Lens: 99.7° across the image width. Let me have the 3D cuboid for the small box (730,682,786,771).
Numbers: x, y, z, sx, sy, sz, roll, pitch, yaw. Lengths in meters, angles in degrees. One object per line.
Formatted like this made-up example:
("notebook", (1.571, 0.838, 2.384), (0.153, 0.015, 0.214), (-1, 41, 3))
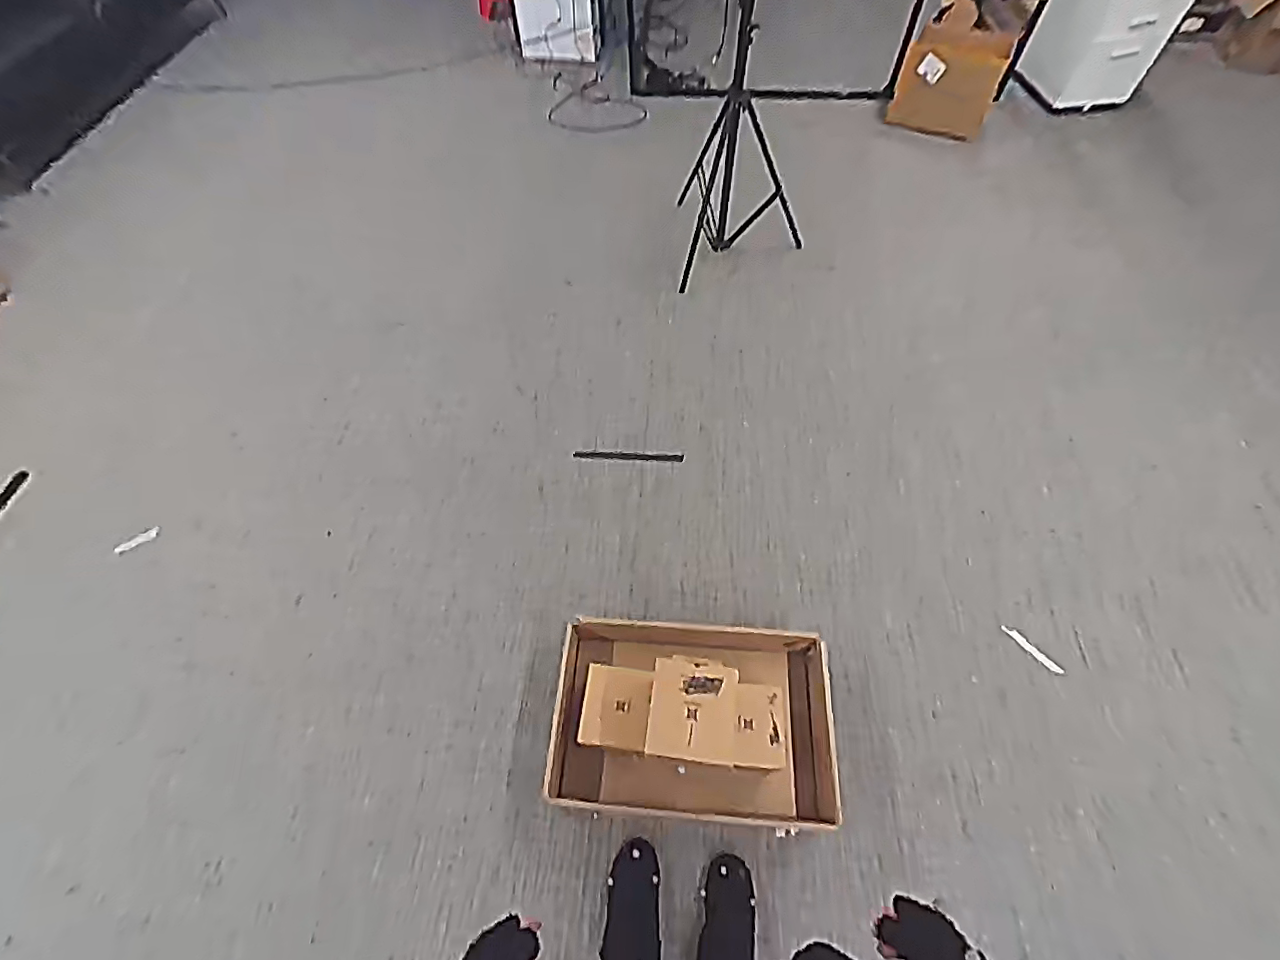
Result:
("small box", (0.231, 0.565, 1.237), (0.179, 0.176, 0.168), (3, 60, 6))

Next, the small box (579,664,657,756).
("small box", (-0.034, 0.539, 1.258), (0.179, 0.176, 0.168), (5, 59, 5))

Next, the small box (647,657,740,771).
("small box", (0.106, 0.478, 1.100), (0.168, 0.176, 0.179), (6, 60, 6))
